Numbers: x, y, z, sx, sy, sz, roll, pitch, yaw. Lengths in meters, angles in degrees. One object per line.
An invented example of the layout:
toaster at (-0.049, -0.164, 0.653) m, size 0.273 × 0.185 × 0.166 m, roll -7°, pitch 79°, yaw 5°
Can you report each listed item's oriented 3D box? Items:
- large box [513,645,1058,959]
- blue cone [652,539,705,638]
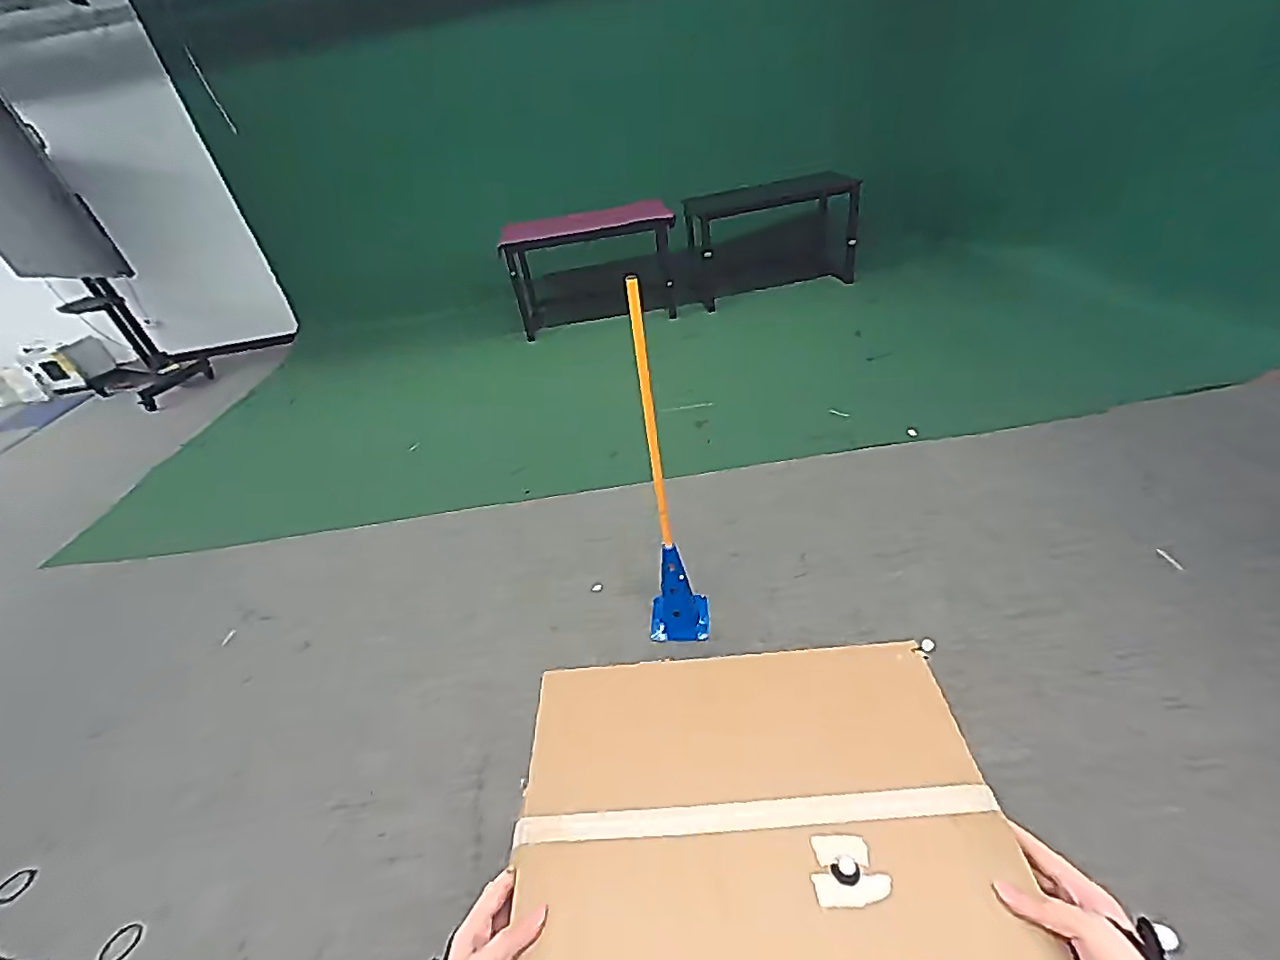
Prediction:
large box at (0.109, 0.409, 0.566) m, size 0.408 × 0.320 × 0.320 m, roll -5°, pitch 39°, yaw 3°
blue cone at (0.115, 0.356, 1.834) m, size 0.193 × 0.380 × 0.192 m, roll -3°, pitch 36°, yaw 9°
